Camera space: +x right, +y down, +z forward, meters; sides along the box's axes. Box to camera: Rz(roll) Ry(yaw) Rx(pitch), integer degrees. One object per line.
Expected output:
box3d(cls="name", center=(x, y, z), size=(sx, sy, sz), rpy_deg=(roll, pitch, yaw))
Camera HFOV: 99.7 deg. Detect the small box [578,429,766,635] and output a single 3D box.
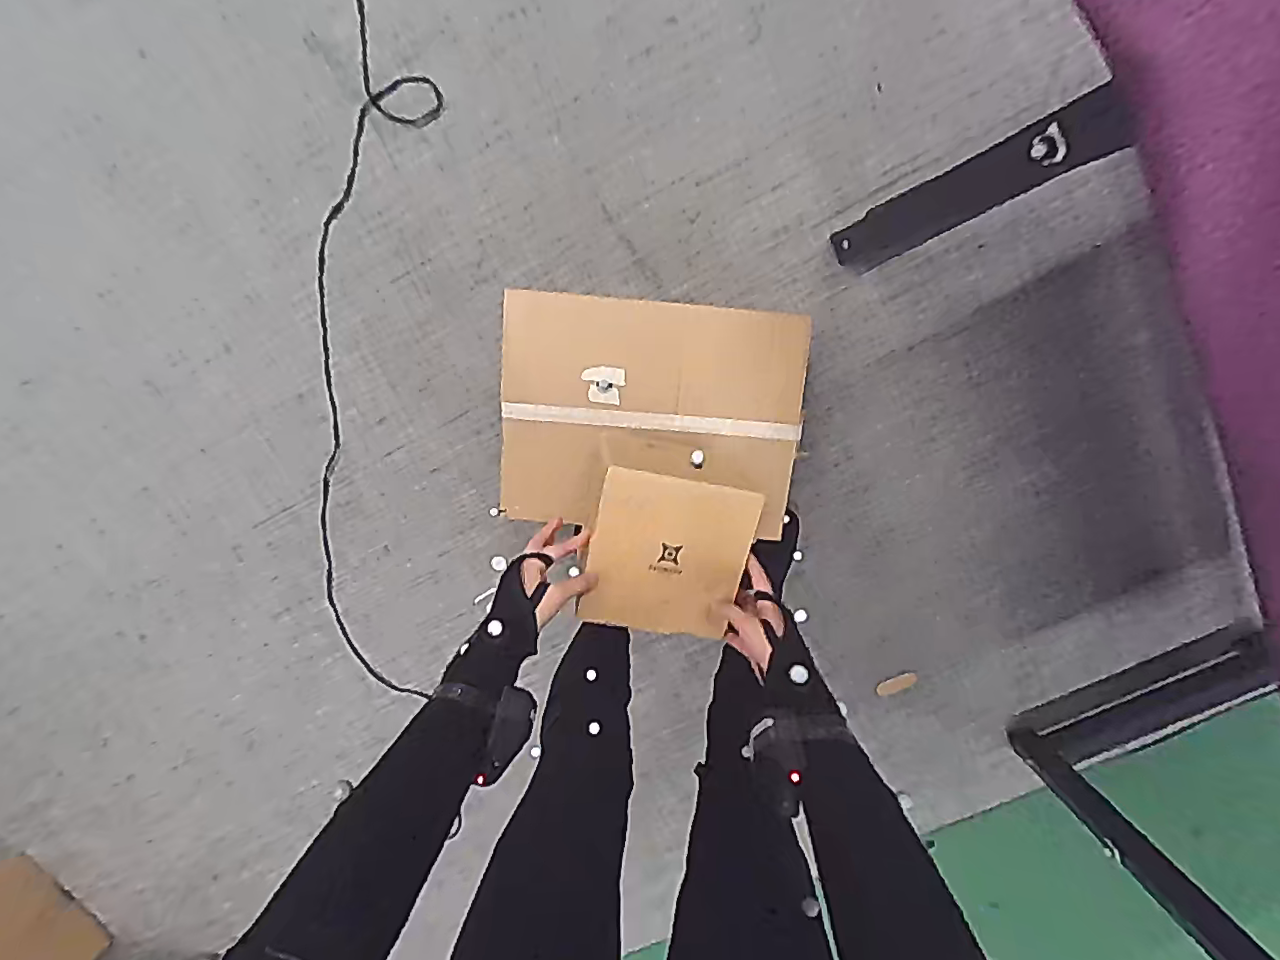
box3d(cls="small box", center=(0.023, 0.050, 0.625), size=(0.168, 0.176, 0.179), rpy_deg=(10, 107, -9))
